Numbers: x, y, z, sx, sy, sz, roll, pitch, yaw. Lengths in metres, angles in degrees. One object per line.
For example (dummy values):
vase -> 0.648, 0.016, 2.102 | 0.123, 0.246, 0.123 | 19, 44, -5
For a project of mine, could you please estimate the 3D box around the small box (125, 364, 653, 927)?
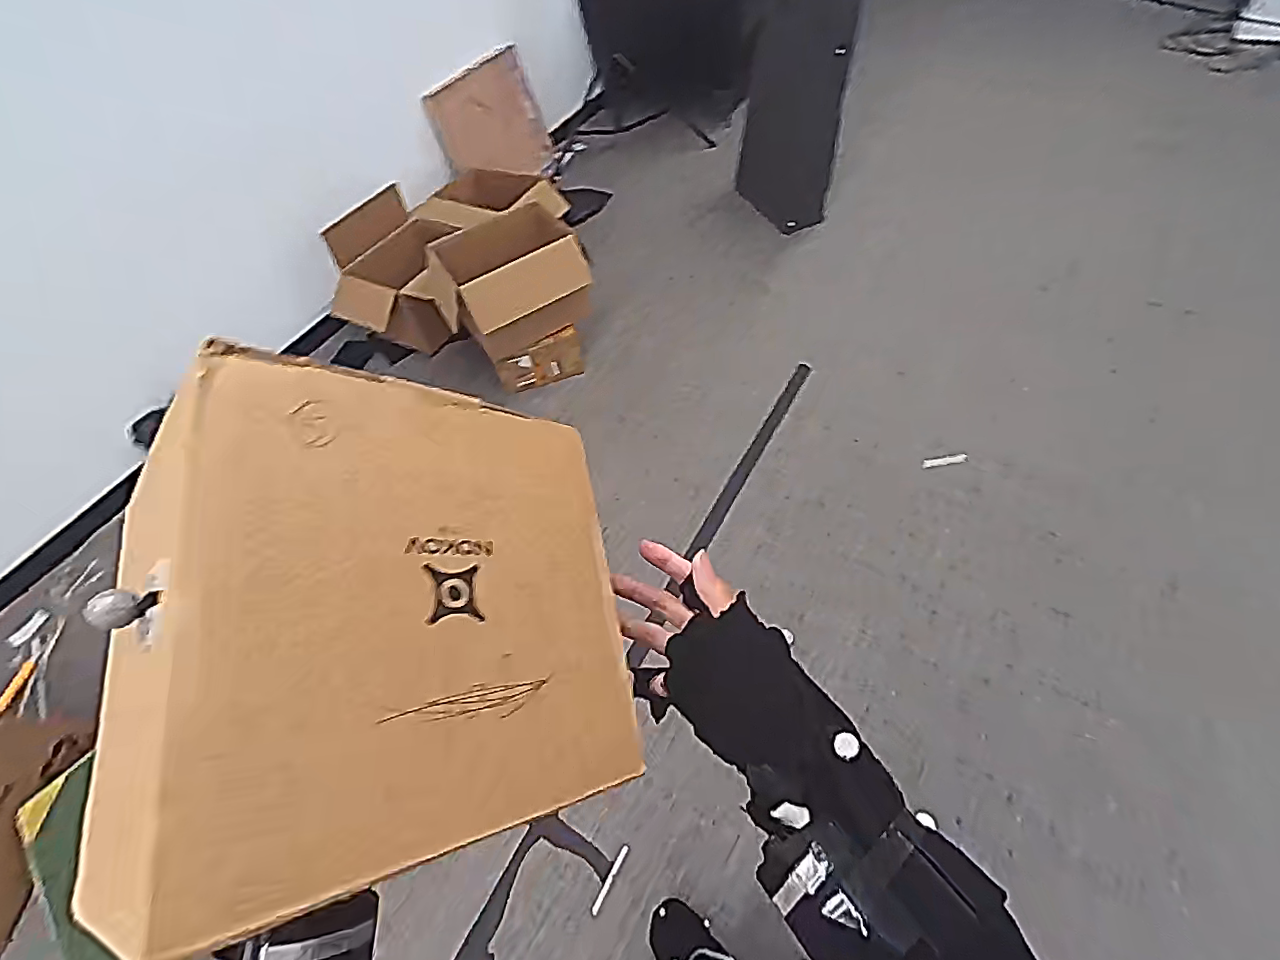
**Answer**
small box -> -0.123, 0.079, 0.268 | 0.176, 0.168, 0.179 | -28, 63, 36
